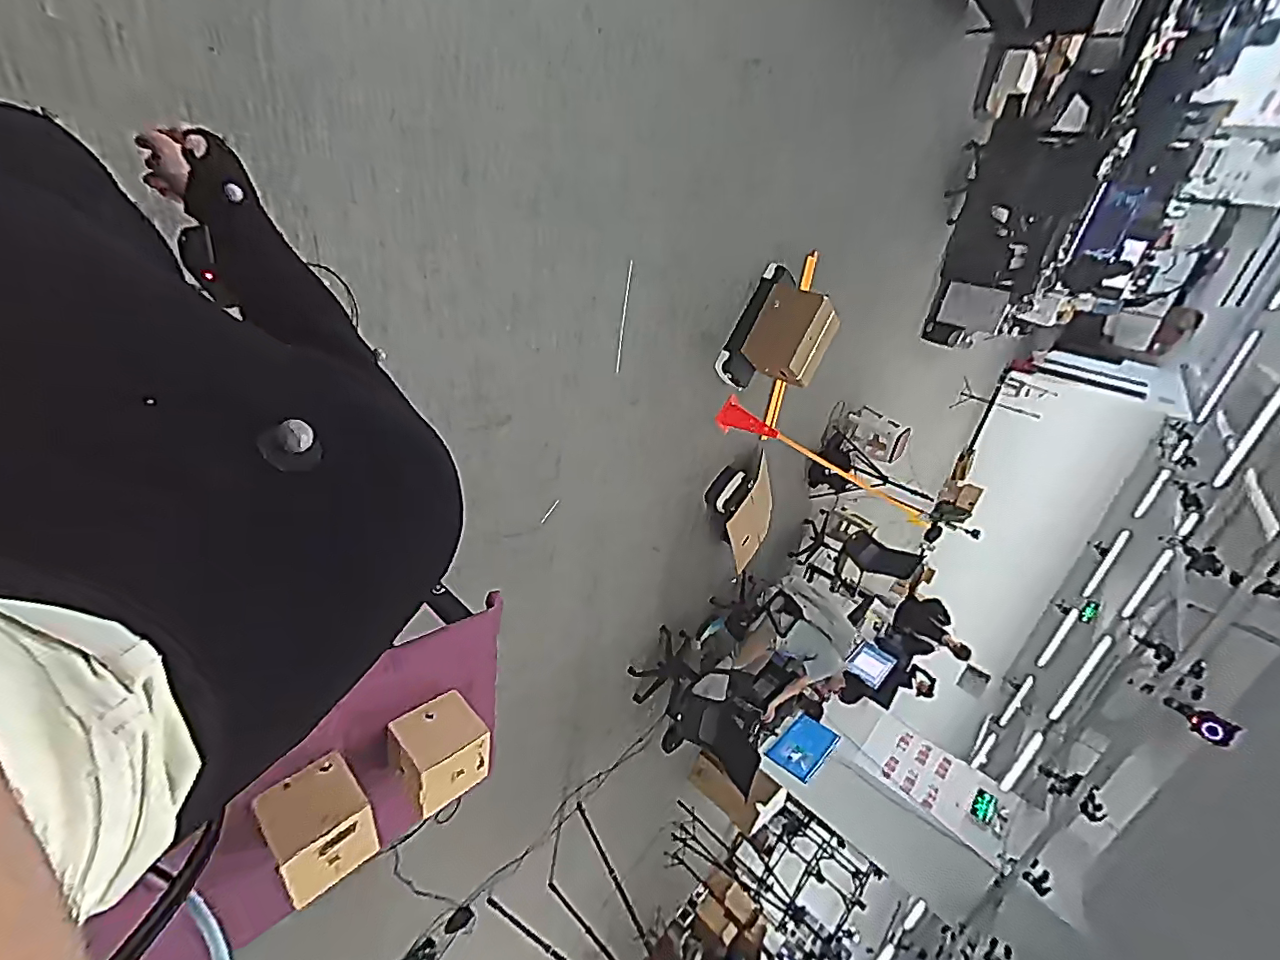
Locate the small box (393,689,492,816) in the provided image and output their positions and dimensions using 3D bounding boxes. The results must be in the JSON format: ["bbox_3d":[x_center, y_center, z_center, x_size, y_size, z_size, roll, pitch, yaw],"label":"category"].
[{"bbox_3d":[-0.485,0.652,1.313,0.179,0.176,0.168,-18,128,-45],"label":"small box"}]

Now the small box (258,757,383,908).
[{"bbox_3d":[-0.663,0.717,1.124,0.168,0.176,0.179,-24,132,-42],"label":"small box"}]
